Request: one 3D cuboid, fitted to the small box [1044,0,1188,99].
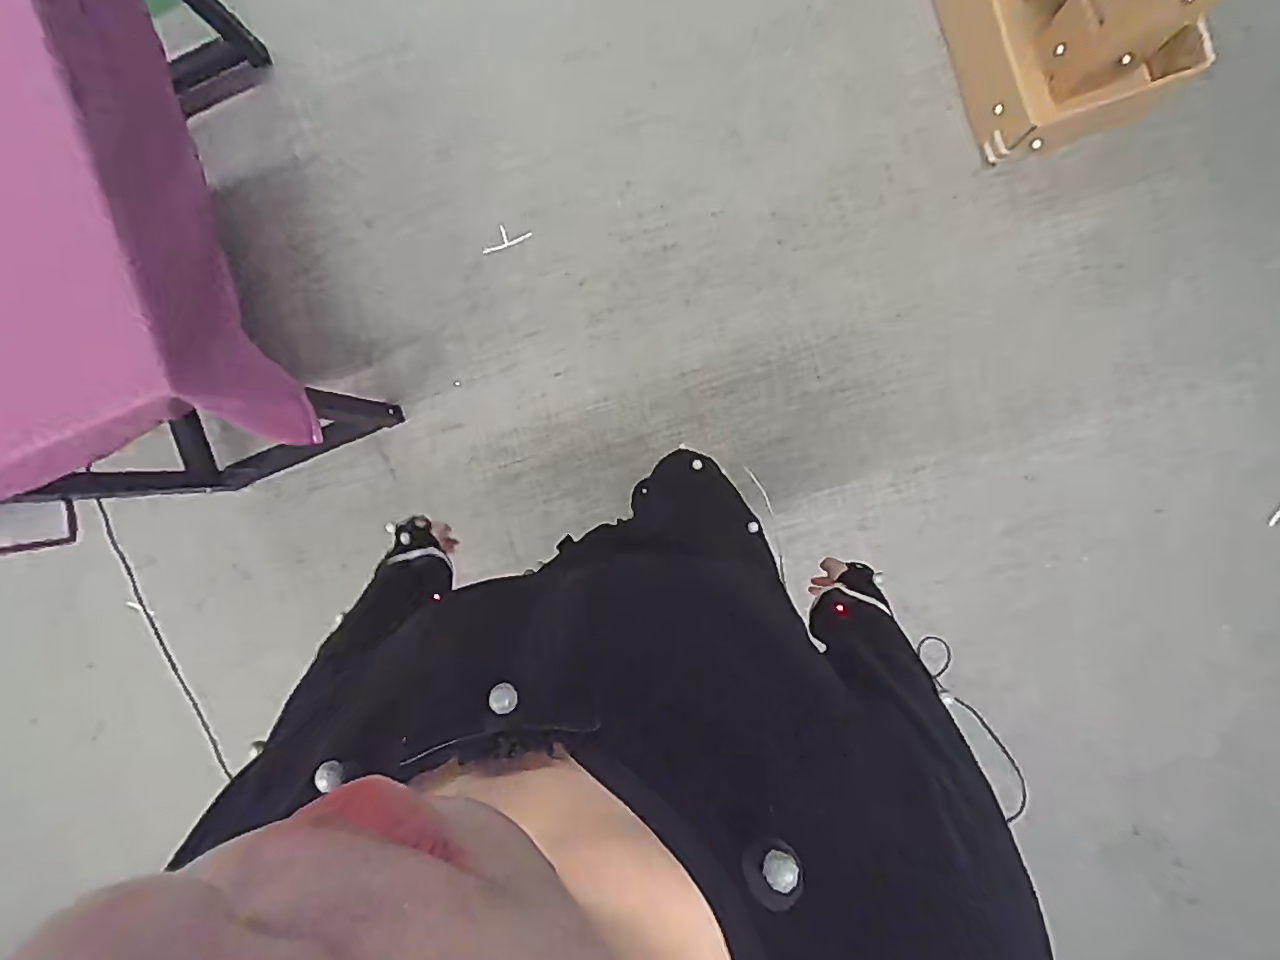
[{"bbox_3d":[1.080,-1.032,1.248,0.179,0.176,0.168,-17,90,6],"label":"small box"}]
